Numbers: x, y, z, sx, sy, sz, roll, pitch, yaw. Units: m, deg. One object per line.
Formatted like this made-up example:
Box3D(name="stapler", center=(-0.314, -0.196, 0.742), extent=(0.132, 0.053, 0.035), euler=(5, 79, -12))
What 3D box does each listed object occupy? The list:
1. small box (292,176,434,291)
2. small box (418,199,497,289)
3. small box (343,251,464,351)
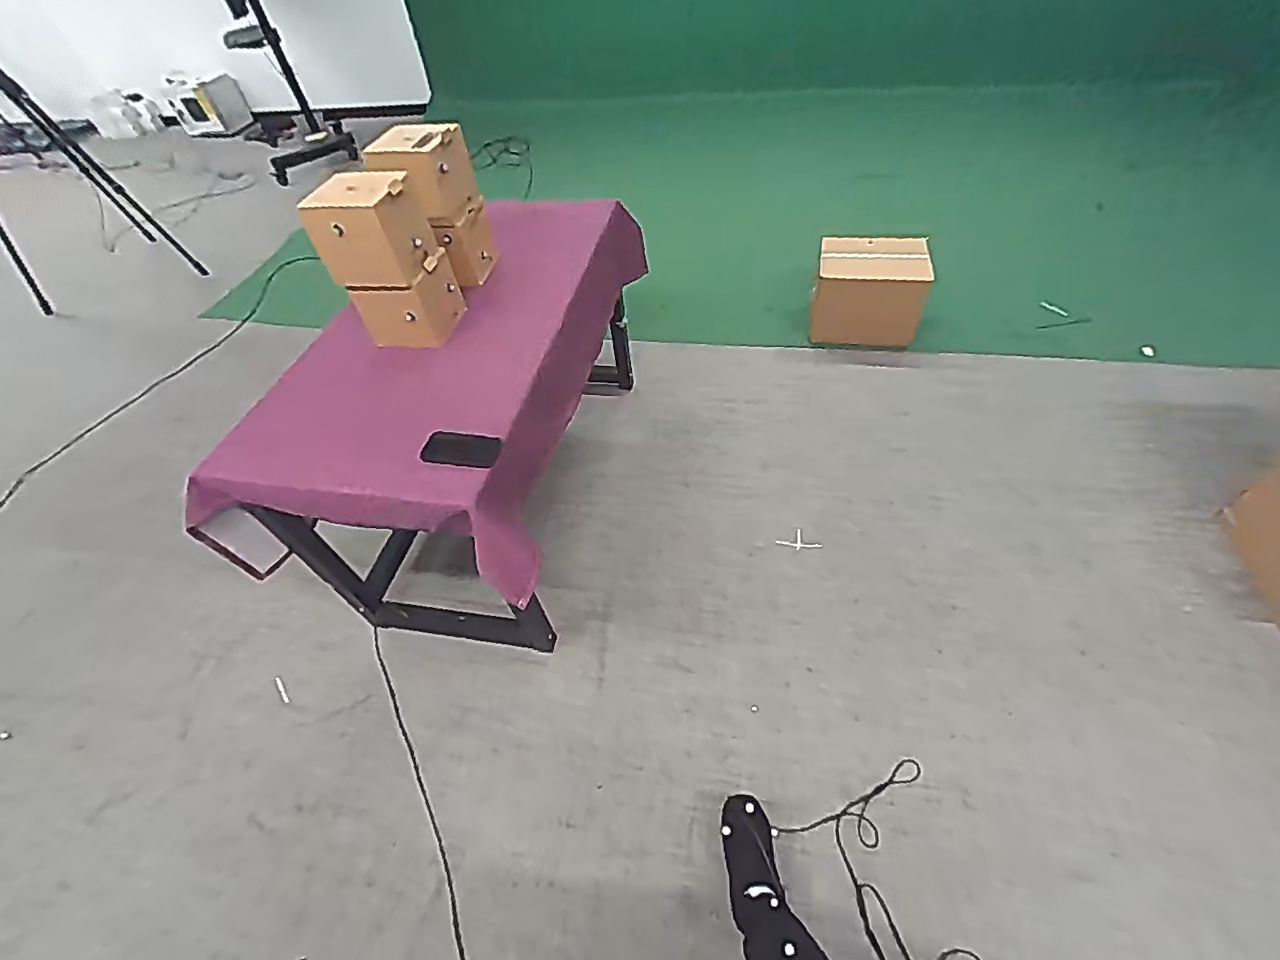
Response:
Box3D(name="small box", center=(-0.571, -0.516, 1.141), extent=(0.179, 0.176, 0.168), euler=(4, 51, 10))
Box3D(name="small box", center=(-0.506, -0.624, 1.436), extent=(0.179, 0.176, 0.168), euler=(5, 51, 10))
Box3D(name="small box", center=(-0.543, -0.419, 1.272), extent=(0.179, 0.176, 0.168), euler=(4, 51, 11))
